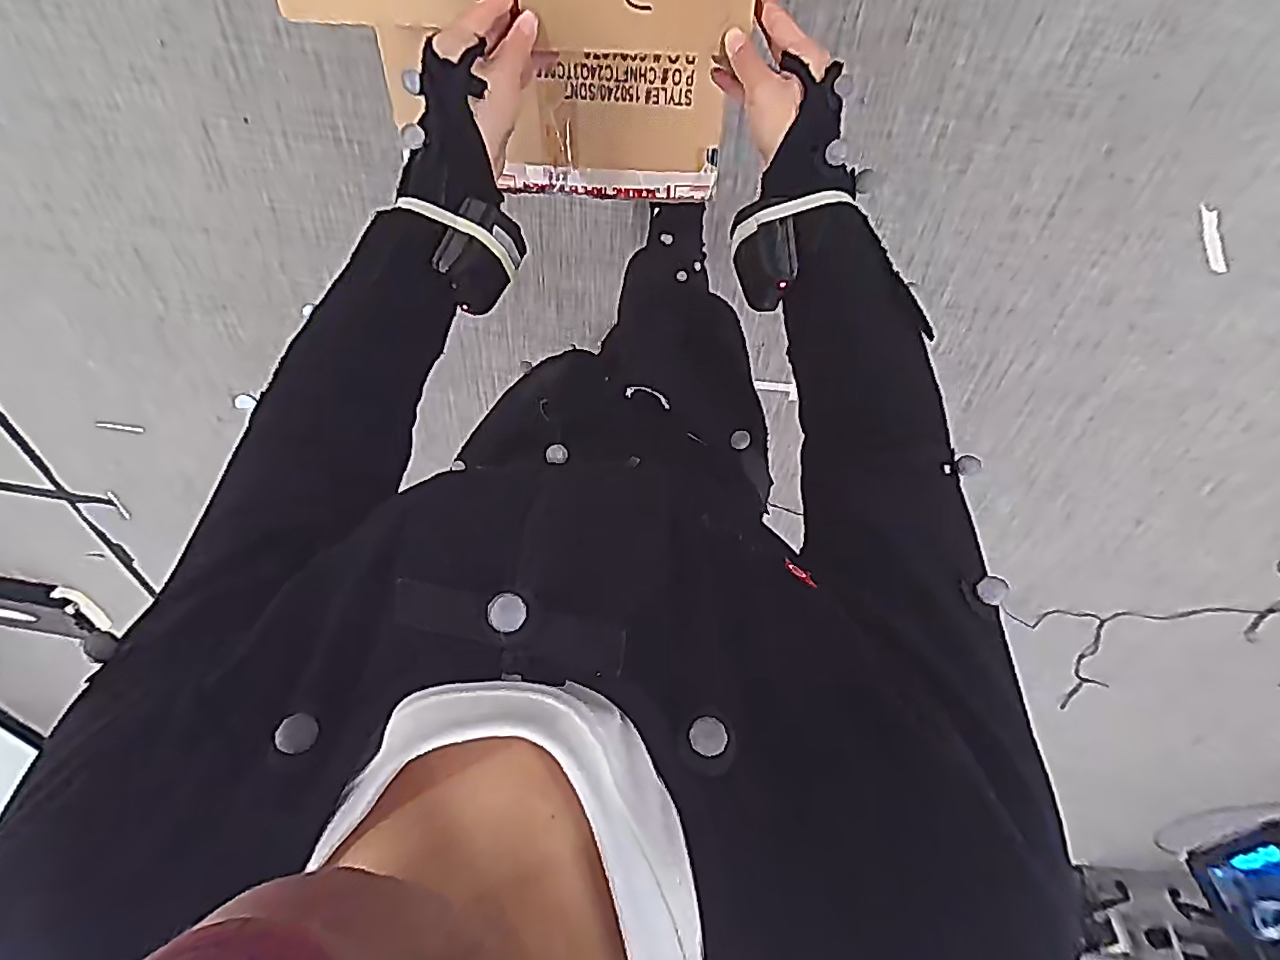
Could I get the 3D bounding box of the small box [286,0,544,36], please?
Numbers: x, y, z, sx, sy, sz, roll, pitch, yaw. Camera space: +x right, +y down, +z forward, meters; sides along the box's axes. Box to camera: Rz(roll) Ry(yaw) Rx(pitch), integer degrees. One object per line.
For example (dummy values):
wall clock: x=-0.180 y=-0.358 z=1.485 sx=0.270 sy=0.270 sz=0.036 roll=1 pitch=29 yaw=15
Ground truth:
small box: x=-0.196 y=-0.488 z=0.456 sx=0.179 sy=0.176 sz=0.168 roll=7 pitch=132 yaw=6
